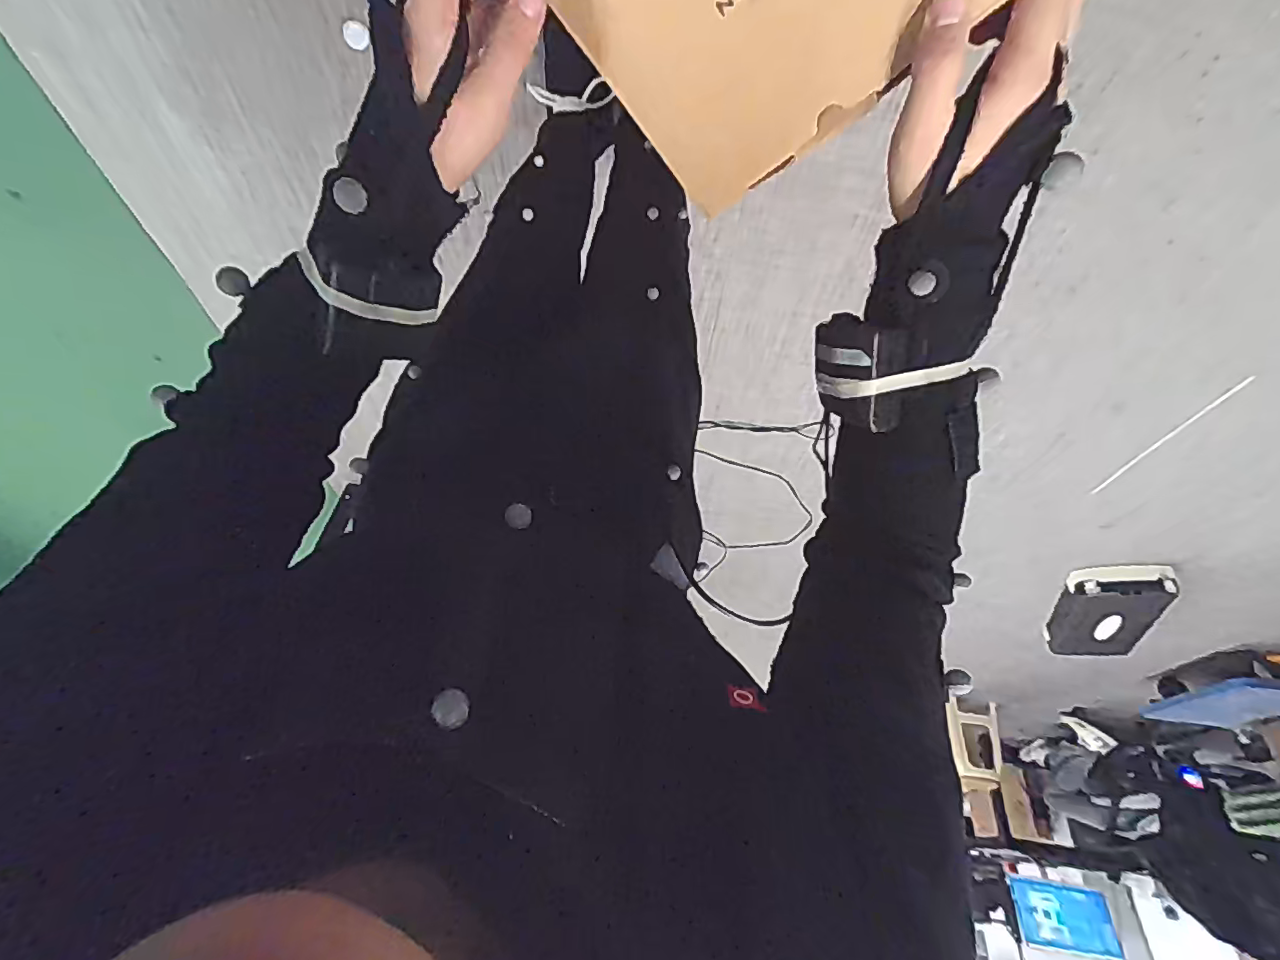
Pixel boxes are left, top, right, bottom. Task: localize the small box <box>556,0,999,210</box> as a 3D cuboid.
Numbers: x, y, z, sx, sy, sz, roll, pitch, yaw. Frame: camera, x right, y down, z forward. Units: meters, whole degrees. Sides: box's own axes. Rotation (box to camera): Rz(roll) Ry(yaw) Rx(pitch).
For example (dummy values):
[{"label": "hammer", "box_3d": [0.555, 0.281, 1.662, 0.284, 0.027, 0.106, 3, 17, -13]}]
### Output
[{"label": "small box", "box_3d": [0.070, -0.290, 0.275, 0.179, 0.176, 0.168, 43, 142, -24]}]
